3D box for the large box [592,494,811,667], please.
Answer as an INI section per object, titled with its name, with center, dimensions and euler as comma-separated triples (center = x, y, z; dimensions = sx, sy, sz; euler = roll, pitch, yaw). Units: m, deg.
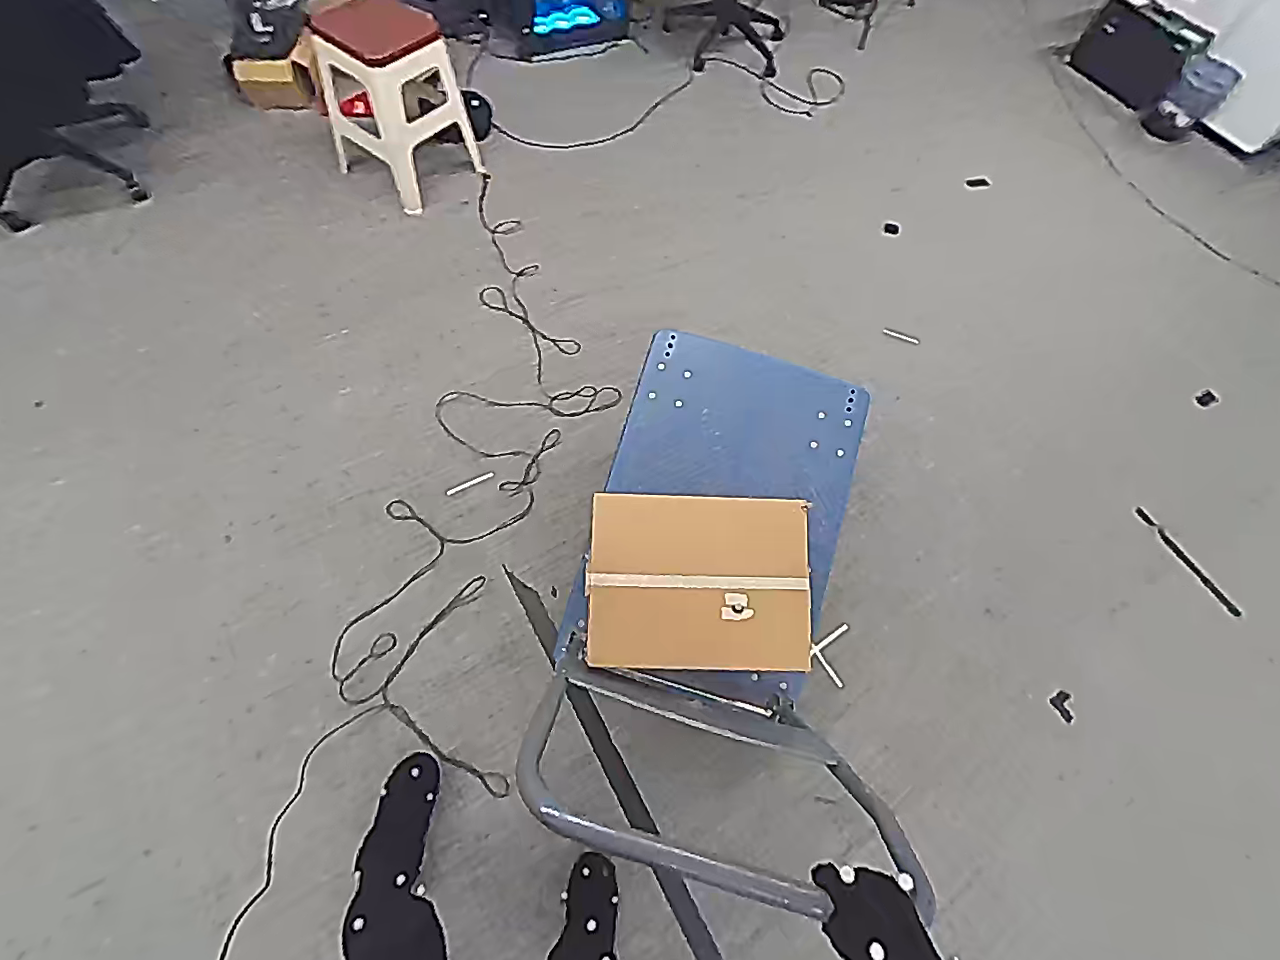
[large box]
center = 0.103, 0.205, 1.143
dimensions = 0.408, 0.320, 0.320
euler = 1, 81, -3
